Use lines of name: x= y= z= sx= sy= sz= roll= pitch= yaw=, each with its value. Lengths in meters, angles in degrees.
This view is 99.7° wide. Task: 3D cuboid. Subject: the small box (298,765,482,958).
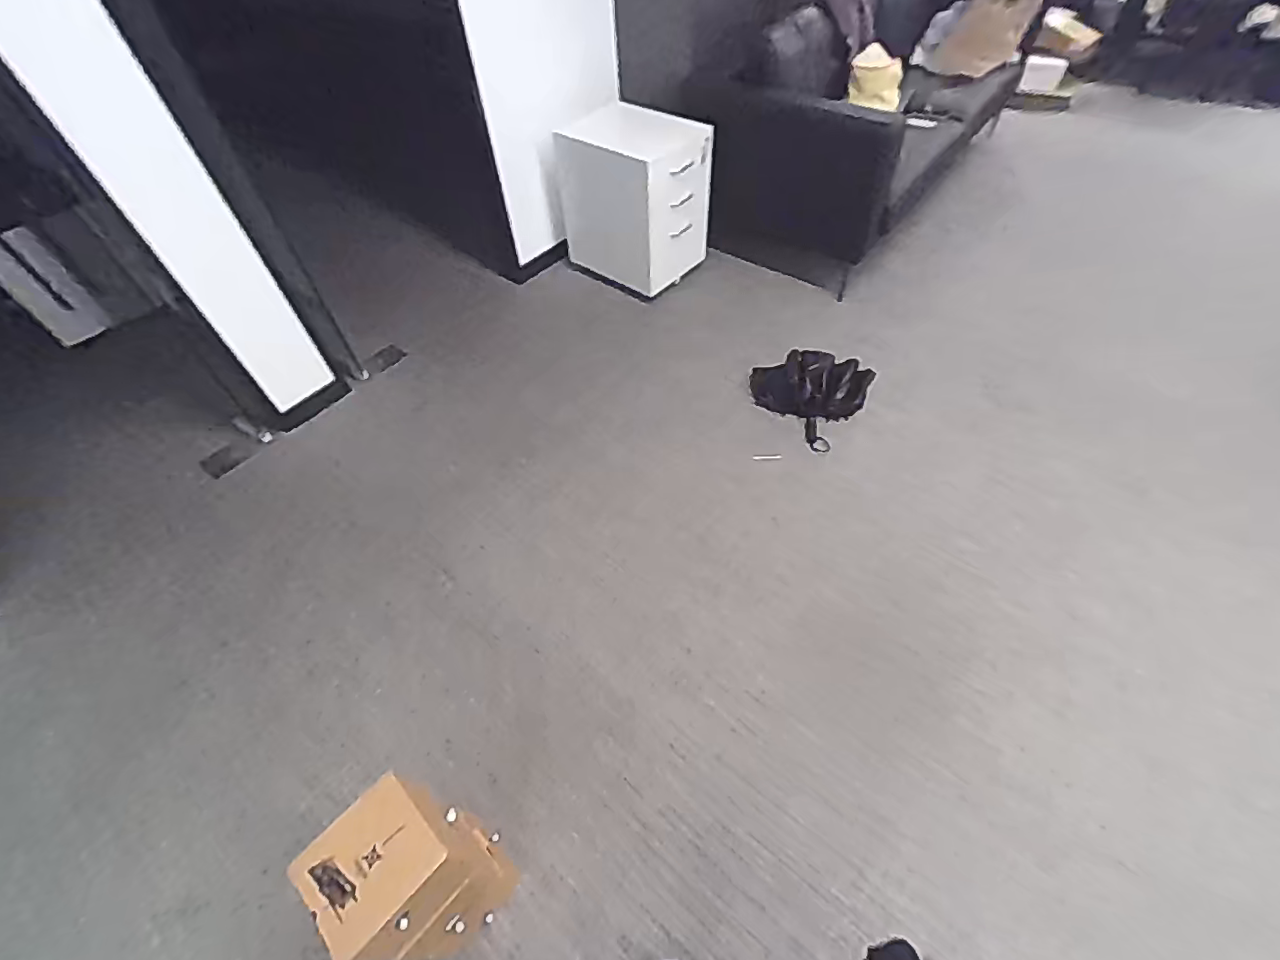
small box: x=-0.380 y=0.593 z=0.851 sx=0.168 sy=0.176 sz=0.179 roll=35 pitch=62 yaw=27

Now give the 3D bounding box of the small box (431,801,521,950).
small box: x=-0.363 y=0.801 z=1.103 sx=0.168 sy=0.176 sz=0.179 roll=36 pitch=62 yaw=27

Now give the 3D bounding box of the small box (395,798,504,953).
small box: x=-0.376 y=0.699 z=0.978 sx=0.179 sy=0.176 sz=0.168 roll=35 pitch=63 yaw=26
